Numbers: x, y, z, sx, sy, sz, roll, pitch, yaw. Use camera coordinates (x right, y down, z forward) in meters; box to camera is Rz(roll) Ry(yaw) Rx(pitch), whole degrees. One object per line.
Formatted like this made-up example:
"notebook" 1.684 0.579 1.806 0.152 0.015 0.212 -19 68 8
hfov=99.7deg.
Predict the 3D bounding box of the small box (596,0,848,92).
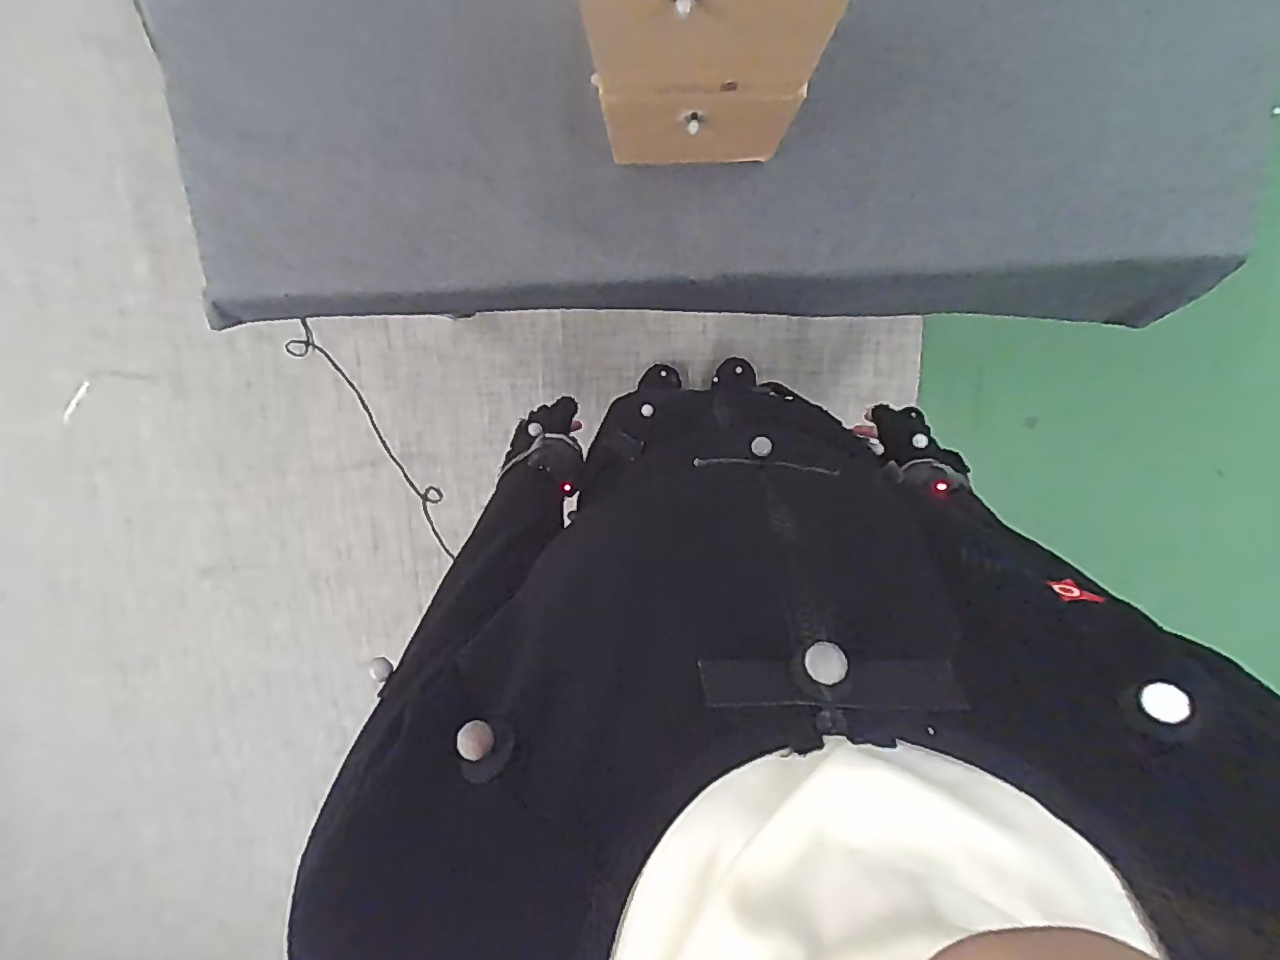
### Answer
"small box" 0.051 -0.396 0.360 0.168 0.176 0.179 -1 104 2

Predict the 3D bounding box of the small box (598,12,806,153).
"small box" 0.056 -0.431 0.517 0.179 0.176 0.168 0 104 2
